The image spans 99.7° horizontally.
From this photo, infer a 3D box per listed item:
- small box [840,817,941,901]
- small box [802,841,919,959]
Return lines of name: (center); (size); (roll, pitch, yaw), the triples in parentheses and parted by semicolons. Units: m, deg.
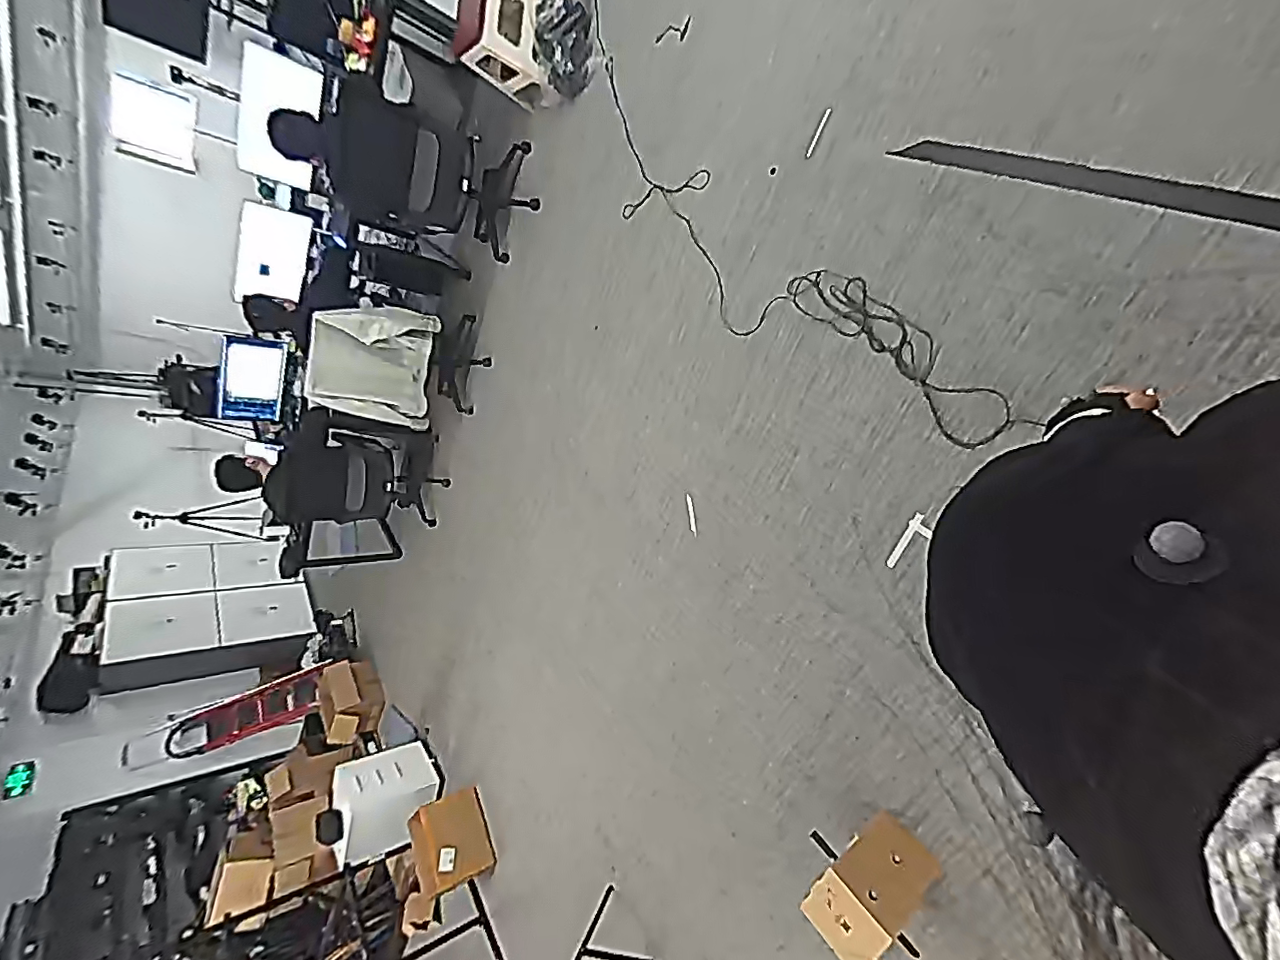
small box: (0.654, 1.035, 1.434); (0.179, 0.176, 0.168); (37, 116, 41)
small box: (0.539, 1.035, 1.316); (0.179, 0.176, 0.168); (40, 117, 40)
